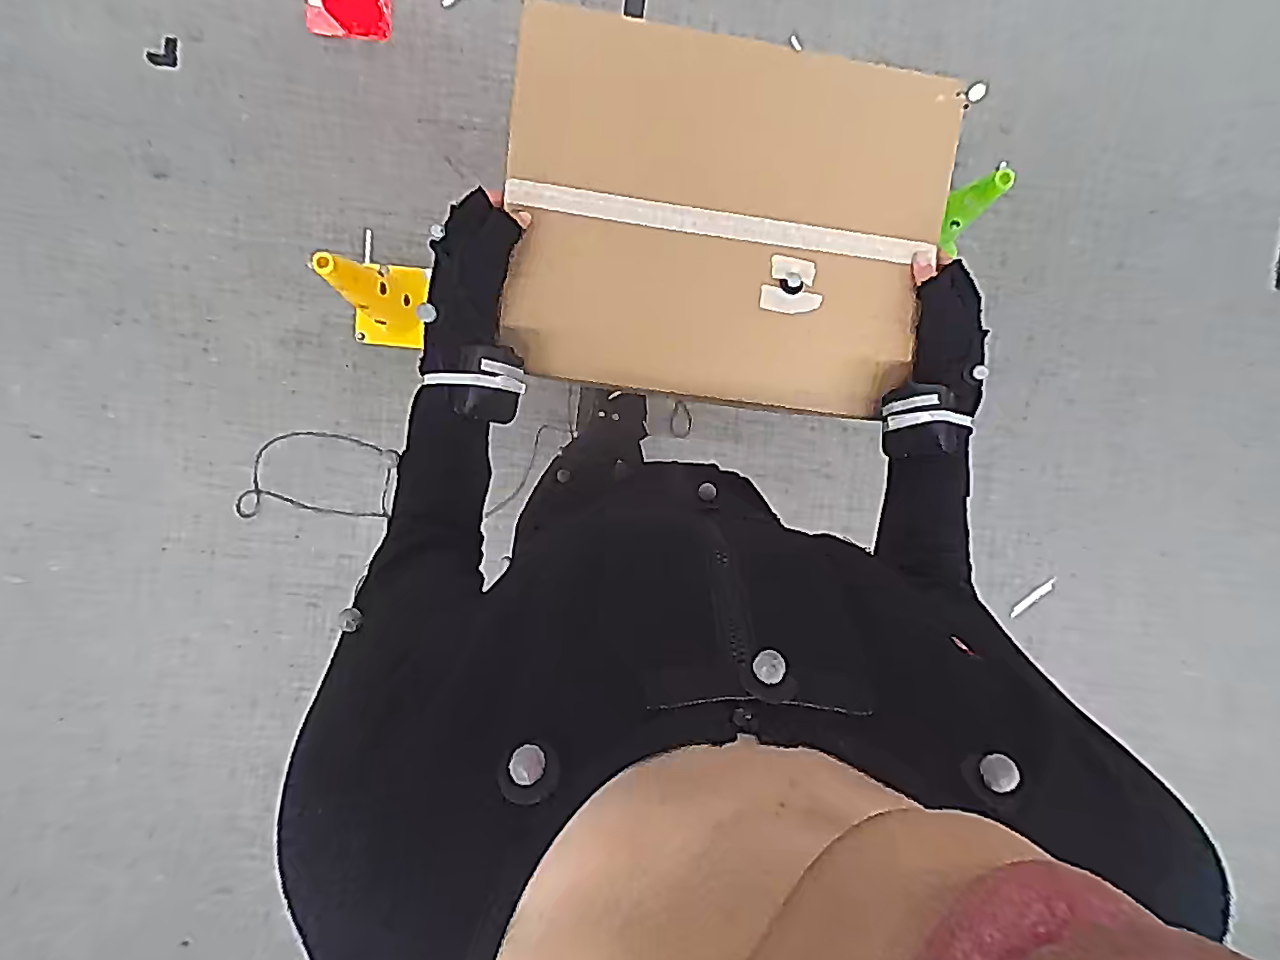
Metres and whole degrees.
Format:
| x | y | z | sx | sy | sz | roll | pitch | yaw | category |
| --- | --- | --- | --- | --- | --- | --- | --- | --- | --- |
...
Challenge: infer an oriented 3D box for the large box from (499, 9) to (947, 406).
| x | y | z | sx | sy | sz | roll | pitch | yaw | category |
| --- | --- | --- | --- | --- | --- | --- | --- | --- | --- |
| 0.065 | -0.264 | 0.654 | 0.408 | 0.320 | 0.320 | 6 | 98 | -5 | large box |

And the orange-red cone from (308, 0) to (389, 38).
| x | y | z | sx | sy | sz | roll | pitch | yaw | category |
| --- | --- | --- | --- | --- | --- | --- | --- | --- | --- |
| -0.706 | -1.171 | 1.149 | 0.198 | 0.360 | 0.199 | 4 | 96 | -2 | orange-red cone |
